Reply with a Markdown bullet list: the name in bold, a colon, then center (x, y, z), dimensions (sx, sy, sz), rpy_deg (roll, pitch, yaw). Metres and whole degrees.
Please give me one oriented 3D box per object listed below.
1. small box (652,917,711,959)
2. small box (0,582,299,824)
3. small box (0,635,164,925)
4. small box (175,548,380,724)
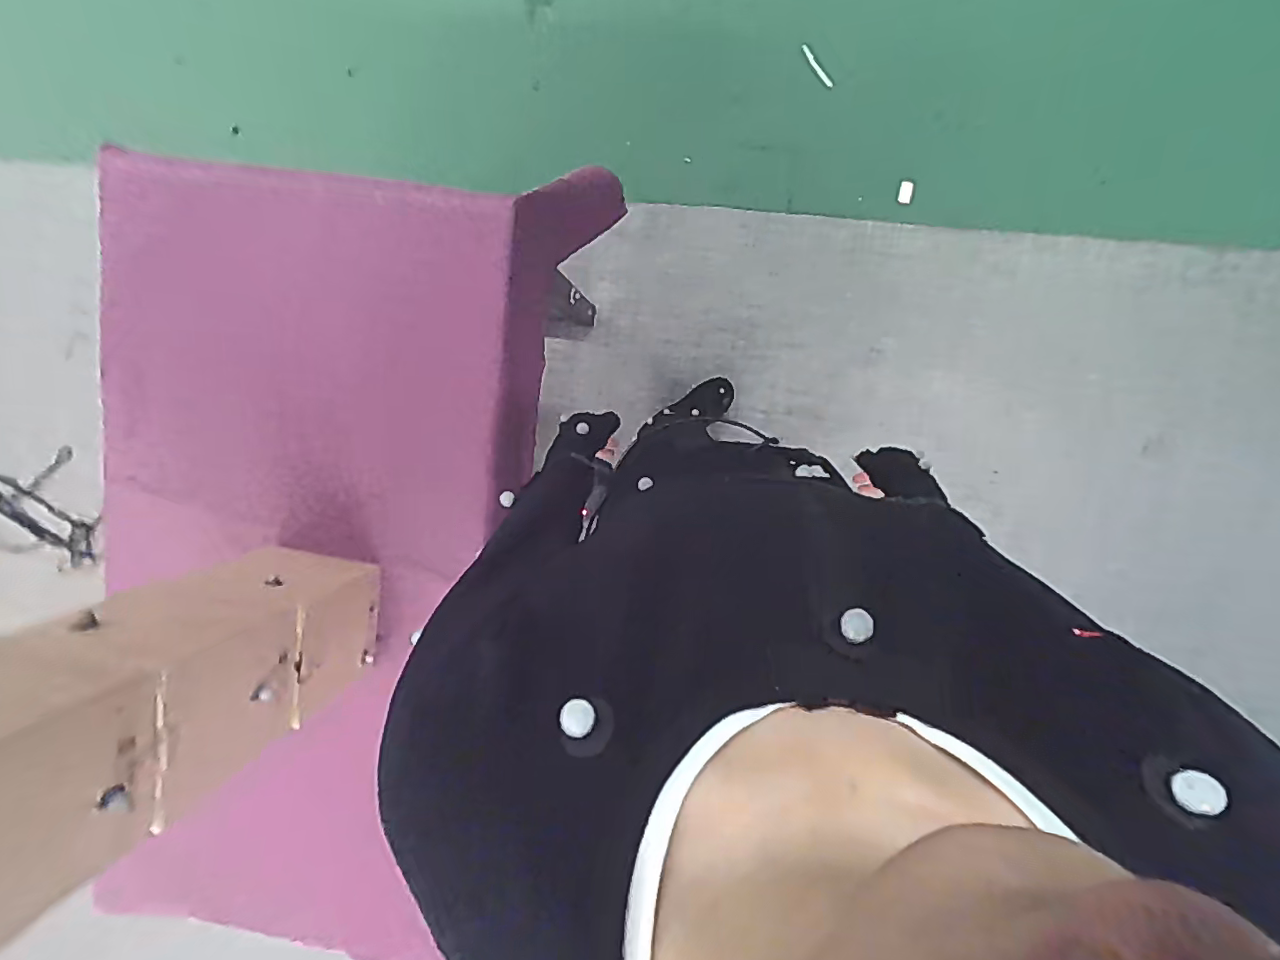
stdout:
- **small box**: center (0.116, 1.425, 1.561), dimensions (0.168, 0.176, 0.179), rpy_deg (6, 98, 5)
- **small box**: center (-0.509, 0.219, 0.580), dimensions (0.179, 0.176, 0.168), rpy_deg (9, 98, 4)
- **small box**: center (-0.530, 0.237, 0.419), dimensions (0.179, 0.176, 0.168), rpy_deg (9, 98, 5)
- **small box**: center (-0.485, 0.200, 0.741), dimensions (0.179, 0.176, 0.168), rpy_deg (9, 97, 5)
